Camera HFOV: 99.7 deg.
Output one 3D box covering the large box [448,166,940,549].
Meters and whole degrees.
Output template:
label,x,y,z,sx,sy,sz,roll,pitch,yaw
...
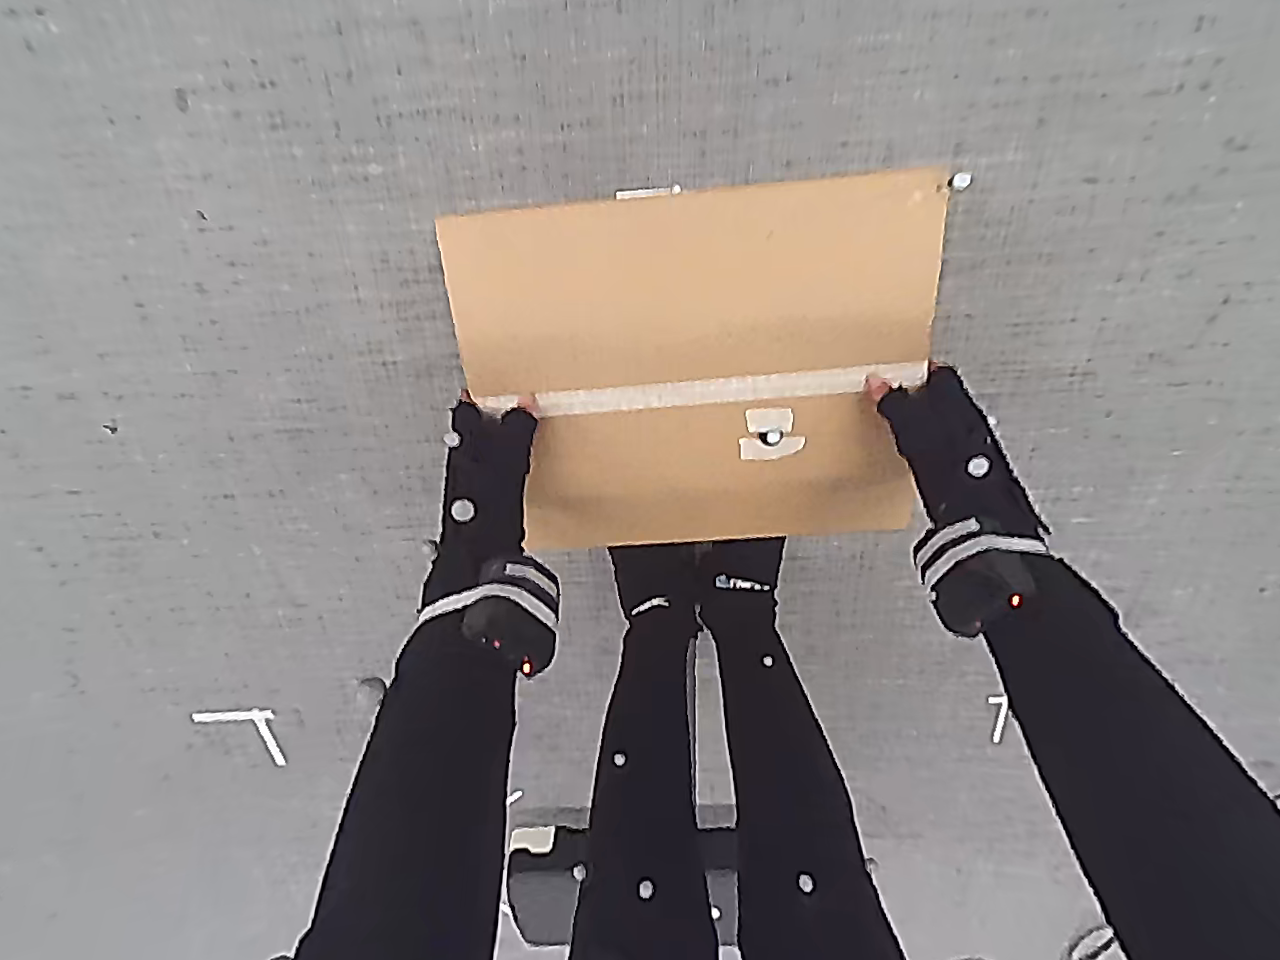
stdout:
label,x,y,z,sx,sy,sz,roll,pitch,yaw
large box,0.054,-0.143,0.625,0.408,0.320,0.320,-5,114,3
